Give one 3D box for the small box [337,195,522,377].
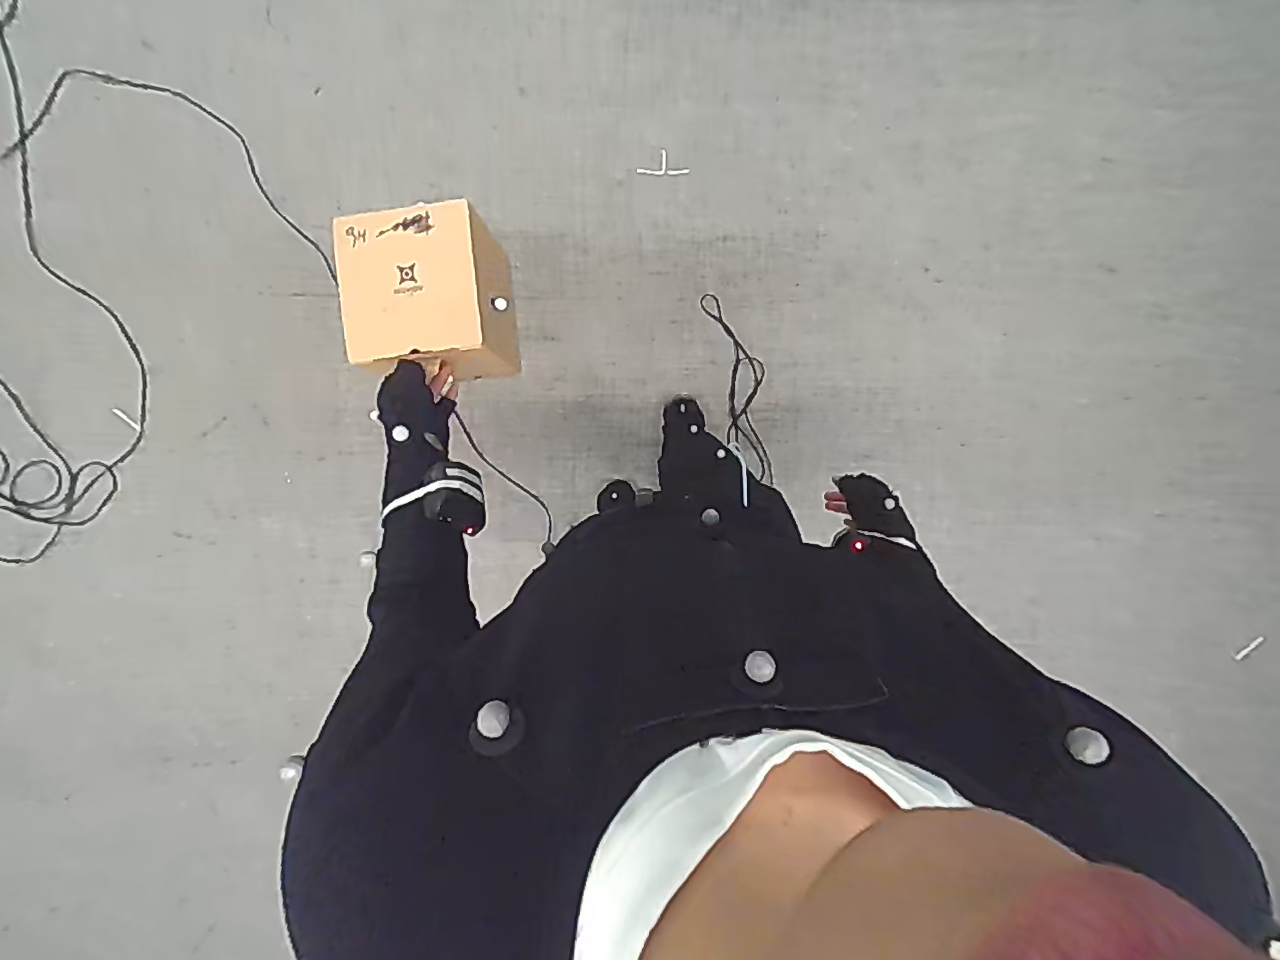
[{"bbox_3d":[-0.261,-0.237,0.708,0.168,0.176,0.179,-6,90,3],"label":"small box"}]
